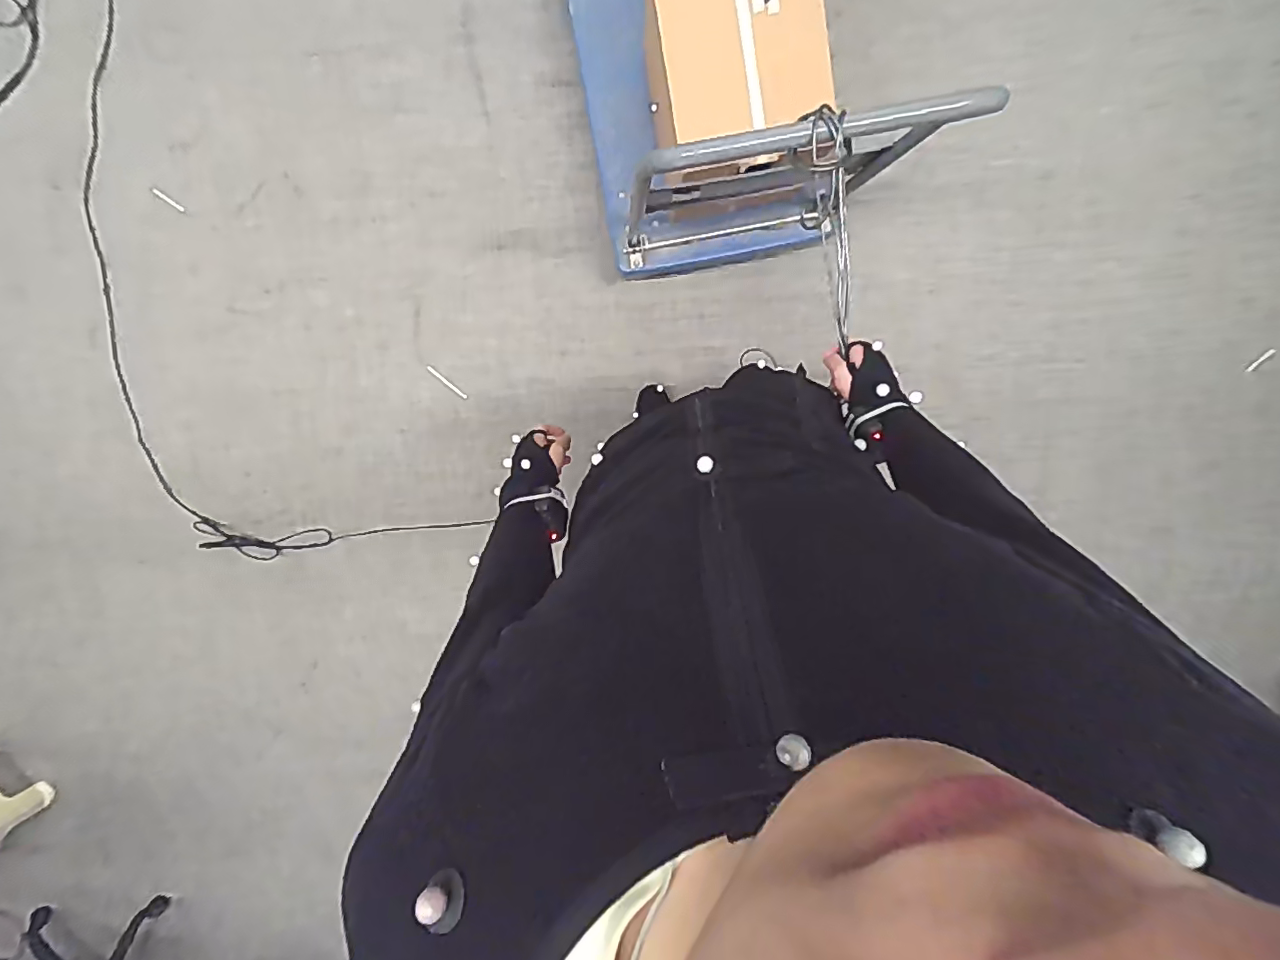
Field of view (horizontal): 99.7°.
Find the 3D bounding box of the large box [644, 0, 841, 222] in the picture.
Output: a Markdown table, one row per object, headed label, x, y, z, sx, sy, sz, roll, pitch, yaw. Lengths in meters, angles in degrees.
| label | x | y | z | sx | sy | sz | roll | pitch | yaw |
| --- | --- | --- | --- | --- | --- | --- | --- | --- | --- |
| large box | 0.196 | -0.829 | 1.151 | 0.320 | 0.320 | 0.408 | -11 | 98 | 0 |
